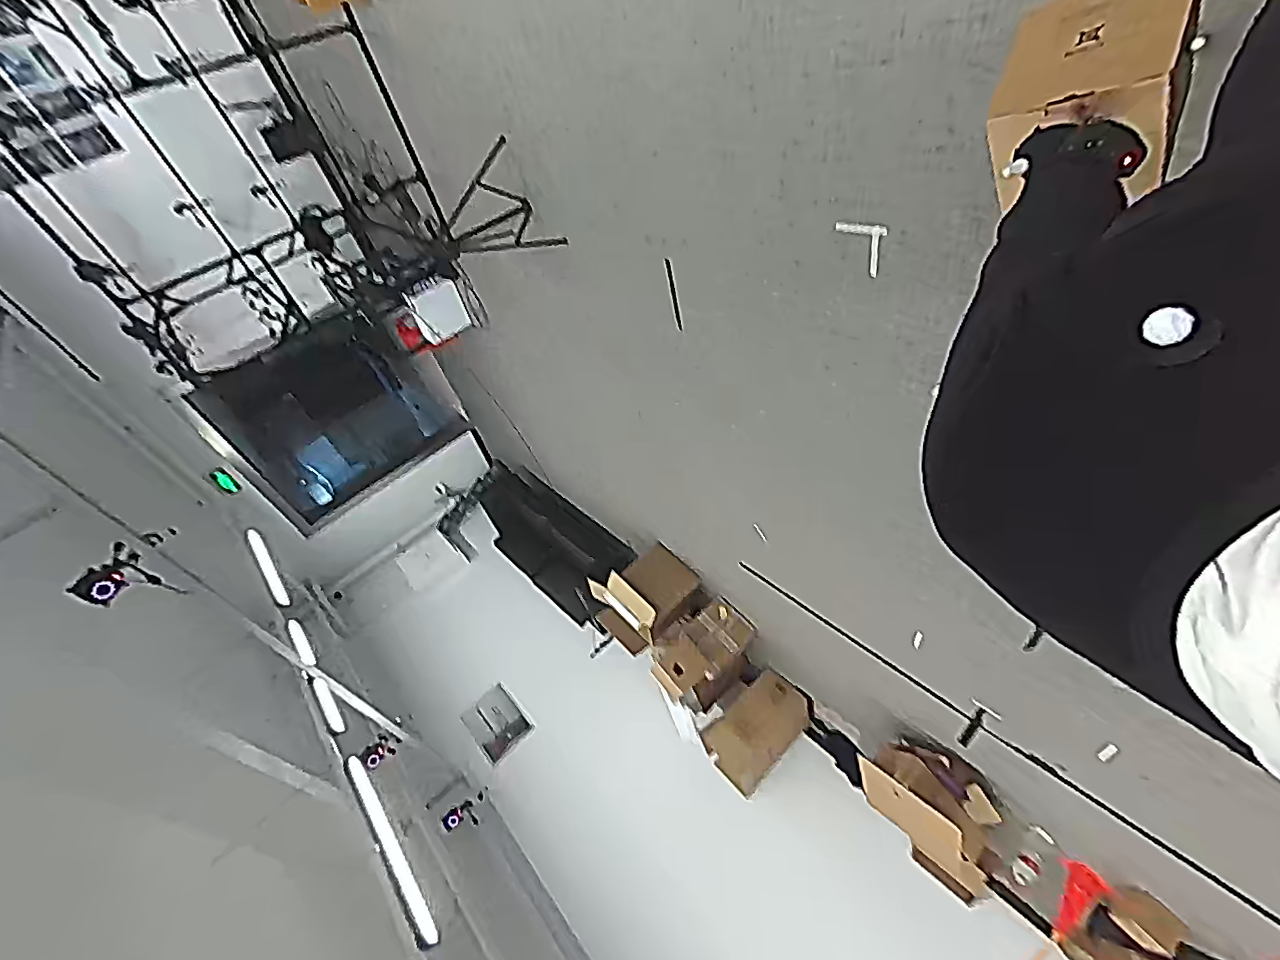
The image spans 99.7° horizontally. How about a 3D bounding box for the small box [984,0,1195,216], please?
[{"bbox_3d":[0.554,-0.455,0.668,0.168,0.179,0.176,13,165,44],"label":"small box"}]
